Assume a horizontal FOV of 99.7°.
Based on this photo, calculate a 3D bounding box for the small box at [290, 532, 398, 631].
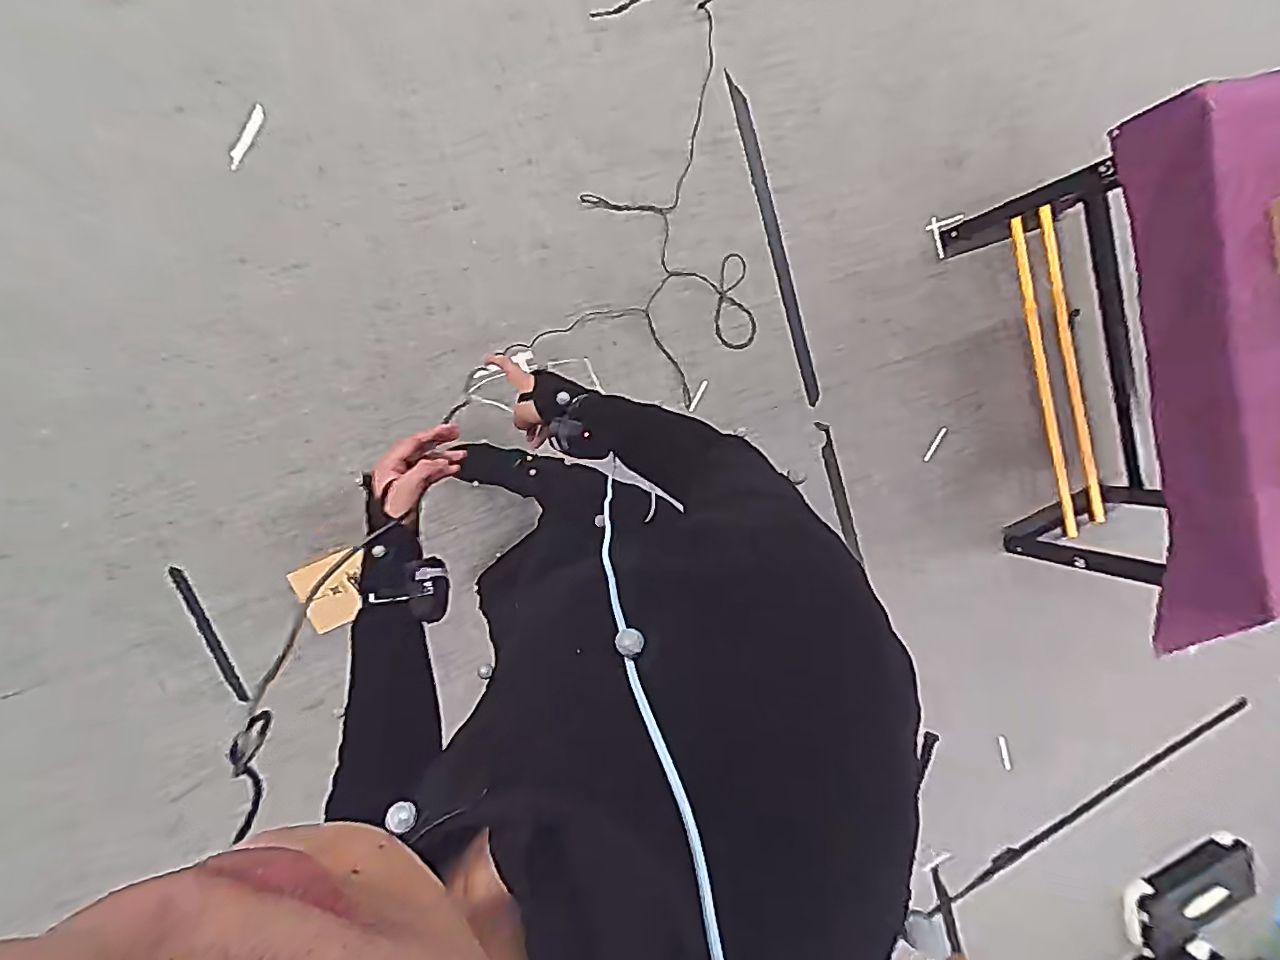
[{"bbox_3d":[-0.739,0.249,1.378,0.179,0.176,0.168,-24,101,-11],"label":"small box"}]

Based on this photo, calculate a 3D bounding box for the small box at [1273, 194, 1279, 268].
[{"bbox_3d":[1.514,-0.568,1.154,0.179,0.176,0.168,-18,100,-13],"label":"small box"}]
